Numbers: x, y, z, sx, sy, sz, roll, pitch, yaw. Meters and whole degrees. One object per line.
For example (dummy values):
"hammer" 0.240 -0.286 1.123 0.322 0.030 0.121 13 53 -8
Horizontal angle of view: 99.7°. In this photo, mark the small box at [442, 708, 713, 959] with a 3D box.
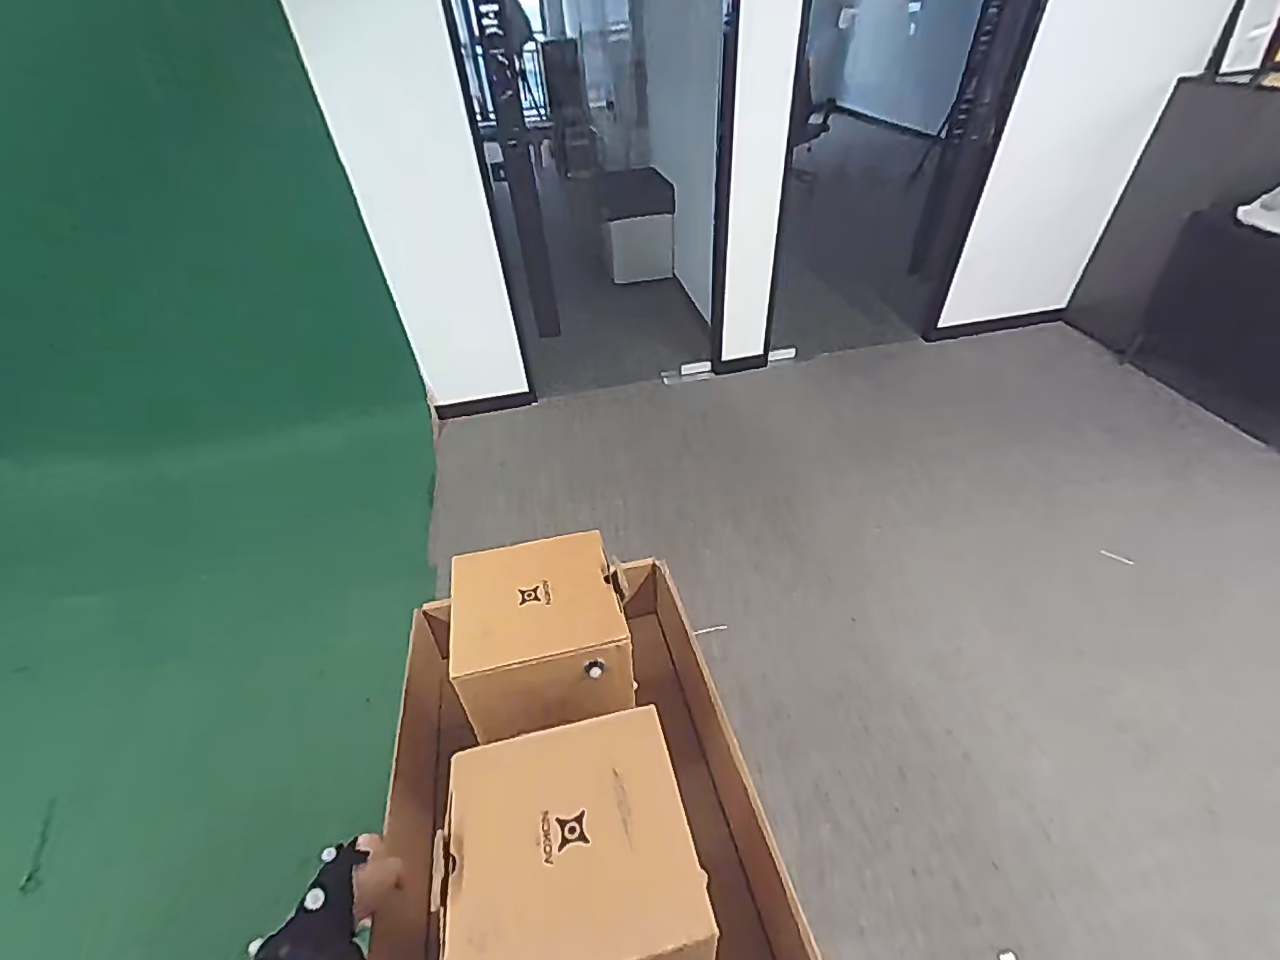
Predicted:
"small box" -0.048 0.324 0.443 0.179 0.176 0.168 -10 37 -10

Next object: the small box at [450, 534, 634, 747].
"small box" -0.110 0.191 0.629 0.179 0.176 0.168 -10 37 -11
